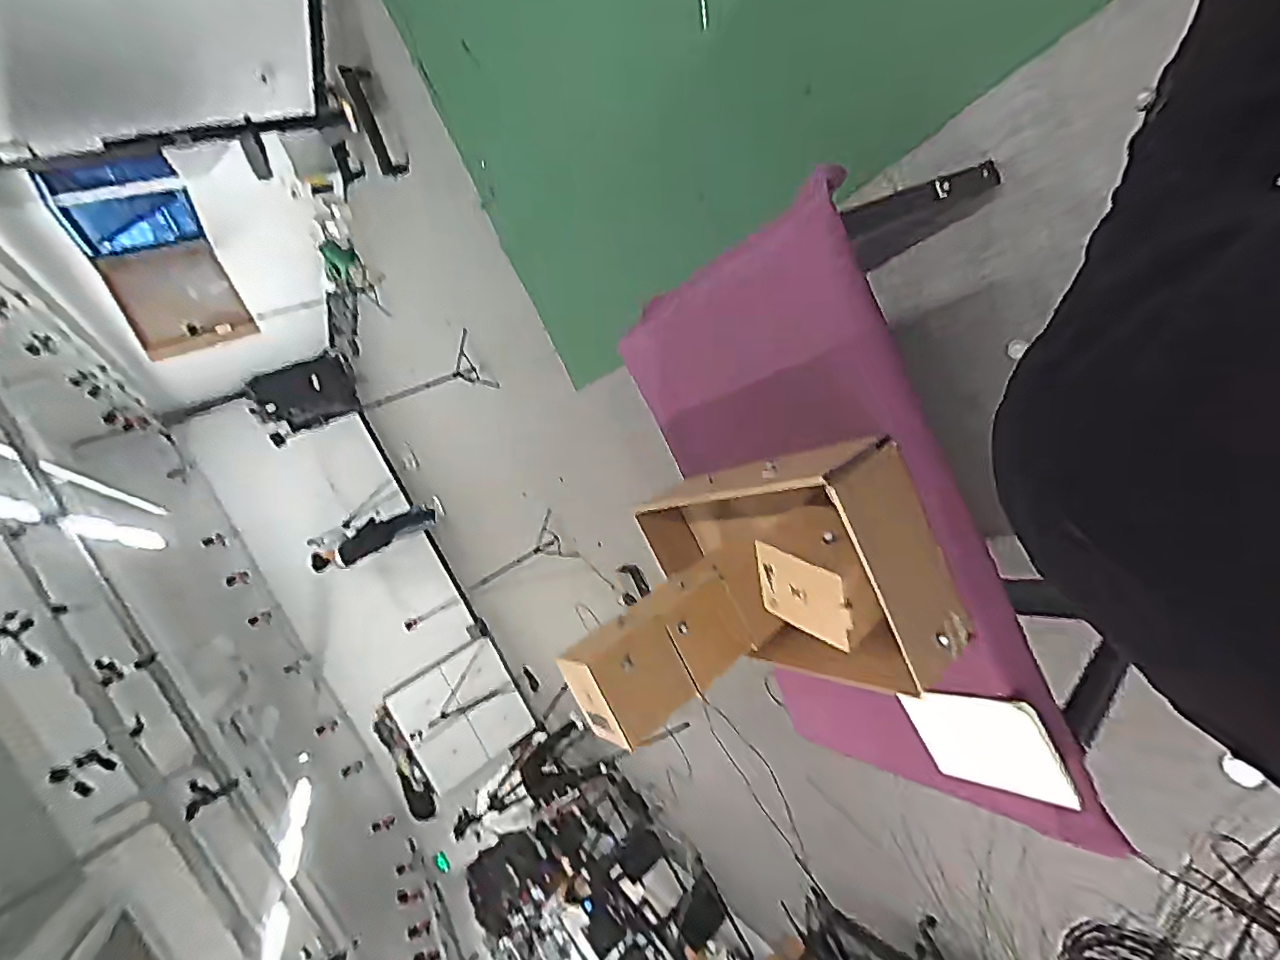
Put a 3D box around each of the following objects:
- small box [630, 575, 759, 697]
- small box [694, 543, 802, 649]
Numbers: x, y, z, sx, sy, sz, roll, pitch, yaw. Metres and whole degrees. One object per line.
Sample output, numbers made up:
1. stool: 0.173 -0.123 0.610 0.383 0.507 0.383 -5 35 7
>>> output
1. small box: 0.115 0.315 1.126 0.168 0.176 0.179 -20 98 59
2. small box: 0.237 0.252 1.211 0.179 0.176 0.168 -15 102 58
